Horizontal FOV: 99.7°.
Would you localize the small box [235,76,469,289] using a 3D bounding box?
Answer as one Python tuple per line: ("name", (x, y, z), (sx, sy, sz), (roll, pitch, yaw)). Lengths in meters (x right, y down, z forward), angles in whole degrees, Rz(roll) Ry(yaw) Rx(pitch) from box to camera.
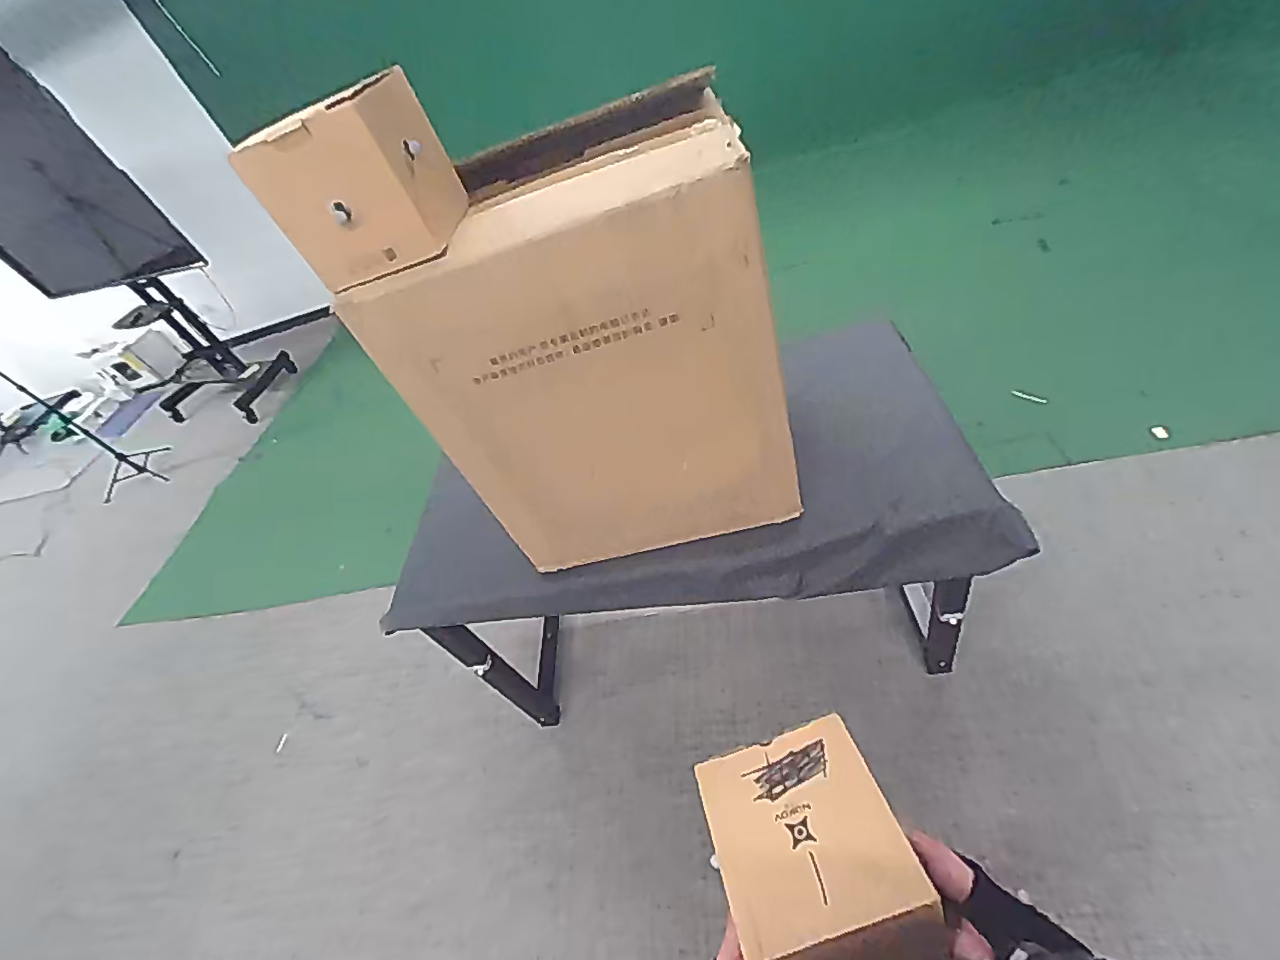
("small box", (-0.338, -0.362, 0.678), (0.168, 0.176, 0.179), (-13, 45, 12))
